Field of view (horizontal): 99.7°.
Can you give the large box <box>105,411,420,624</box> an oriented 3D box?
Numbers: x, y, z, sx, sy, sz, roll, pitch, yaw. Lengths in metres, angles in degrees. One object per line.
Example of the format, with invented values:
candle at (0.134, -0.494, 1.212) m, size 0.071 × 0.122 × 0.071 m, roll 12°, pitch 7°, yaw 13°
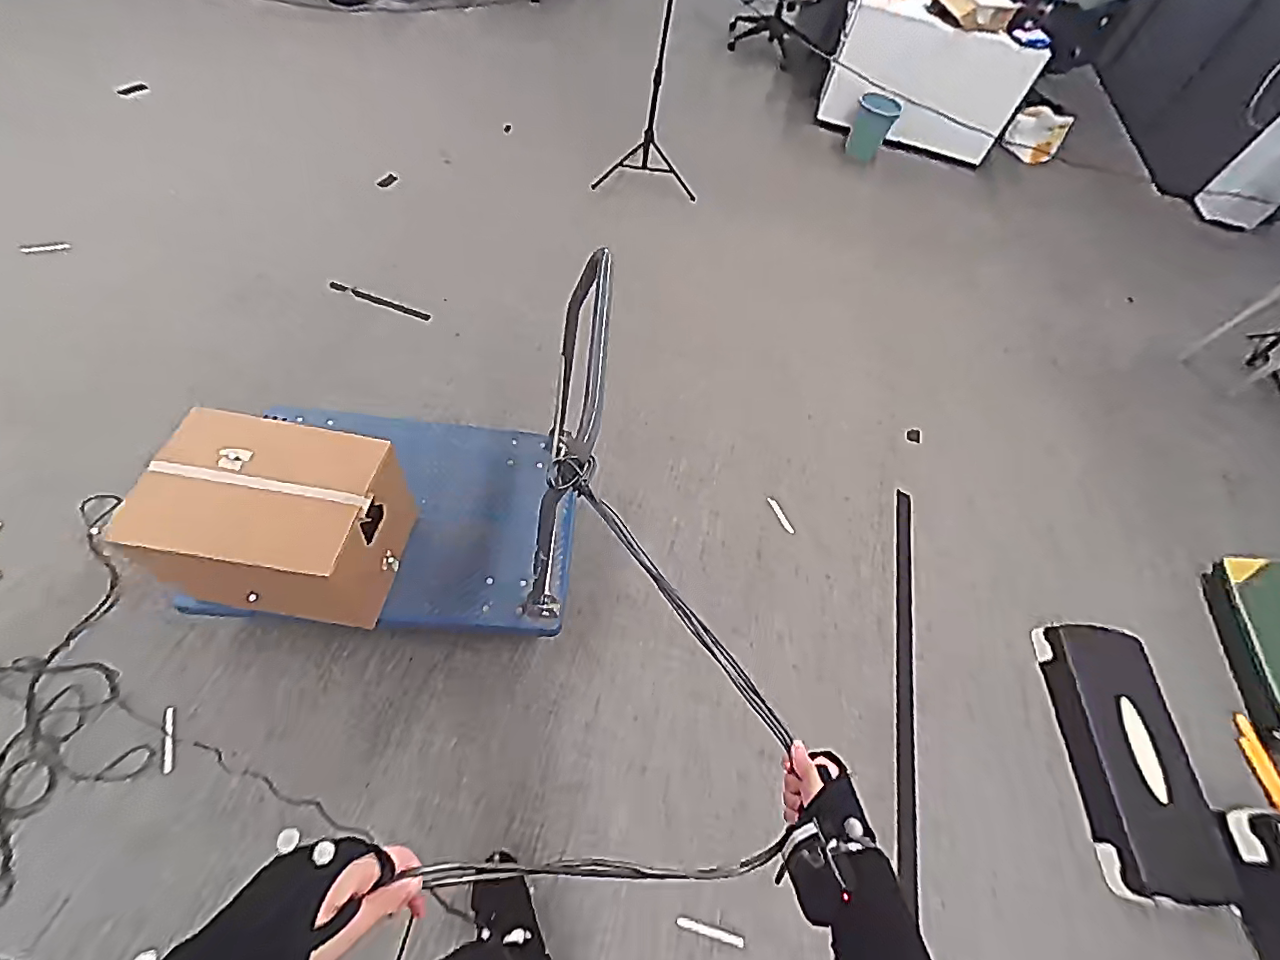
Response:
large box at (-0.745, 0.094, 1.161) m, size 0.408 × 0.320 × 0.320 m, roll 10°, pitch 56°, yaw -3°
